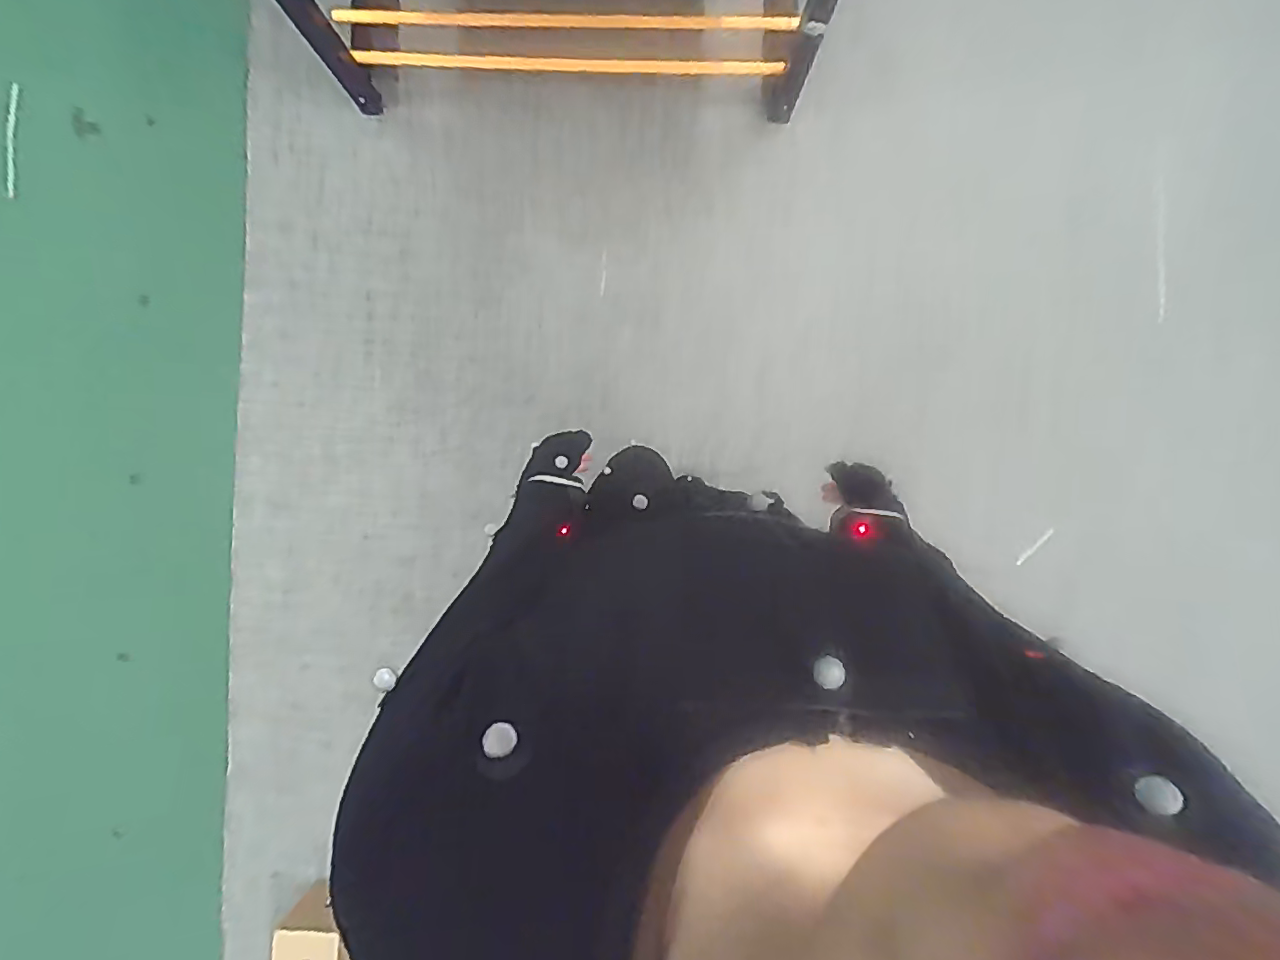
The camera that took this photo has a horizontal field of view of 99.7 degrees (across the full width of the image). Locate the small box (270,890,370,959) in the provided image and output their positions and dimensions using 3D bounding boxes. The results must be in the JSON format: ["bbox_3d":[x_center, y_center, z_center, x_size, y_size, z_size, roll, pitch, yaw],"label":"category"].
[{"bbox_3d":[-0.821,1.205,1.396,0.168,0.176,0.179,2,90,1],"label":"small box"}]
